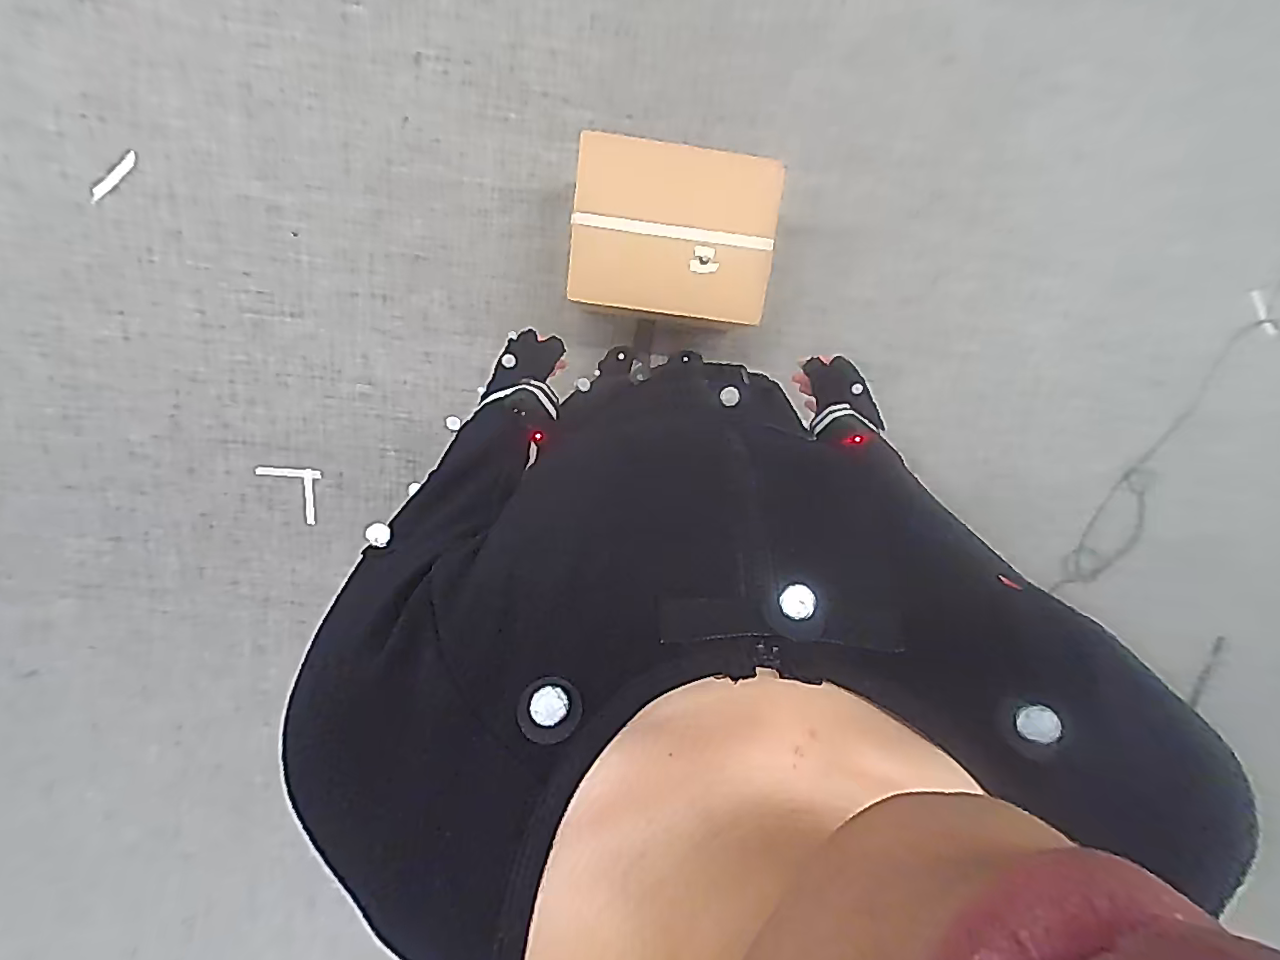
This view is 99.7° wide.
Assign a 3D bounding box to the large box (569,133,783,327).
[{"bbox_3d":[0.060,-0.529,1.218,0.408,0.320,0.320,6,104,-4],"label":"large box"}]
